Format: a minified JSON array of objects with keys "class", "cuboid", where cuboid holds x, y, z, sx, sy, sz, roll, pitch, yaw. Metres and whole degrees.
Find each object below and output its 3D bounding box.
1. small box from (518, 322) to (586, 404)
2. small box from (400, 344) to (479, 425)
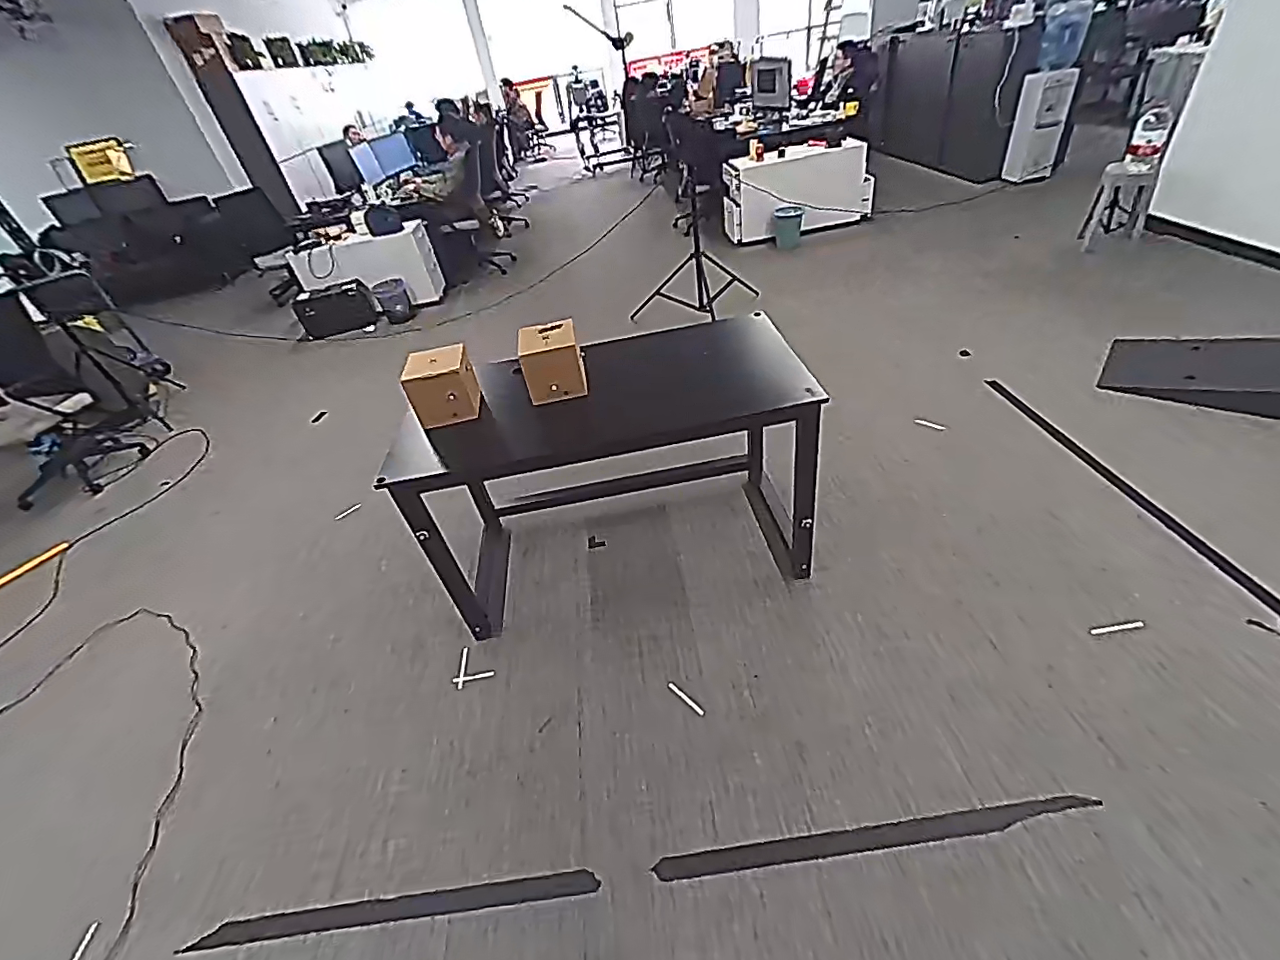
[{"class":"small box","cuboid":[-0.259,-0.349,1.613,0.168,0.176,0.179,-12,40,-1]},{"class":"small box","cuboid":[-0.583,-0.276,1.601,0.168,0.176,0.179,-12,38,-4]}]
